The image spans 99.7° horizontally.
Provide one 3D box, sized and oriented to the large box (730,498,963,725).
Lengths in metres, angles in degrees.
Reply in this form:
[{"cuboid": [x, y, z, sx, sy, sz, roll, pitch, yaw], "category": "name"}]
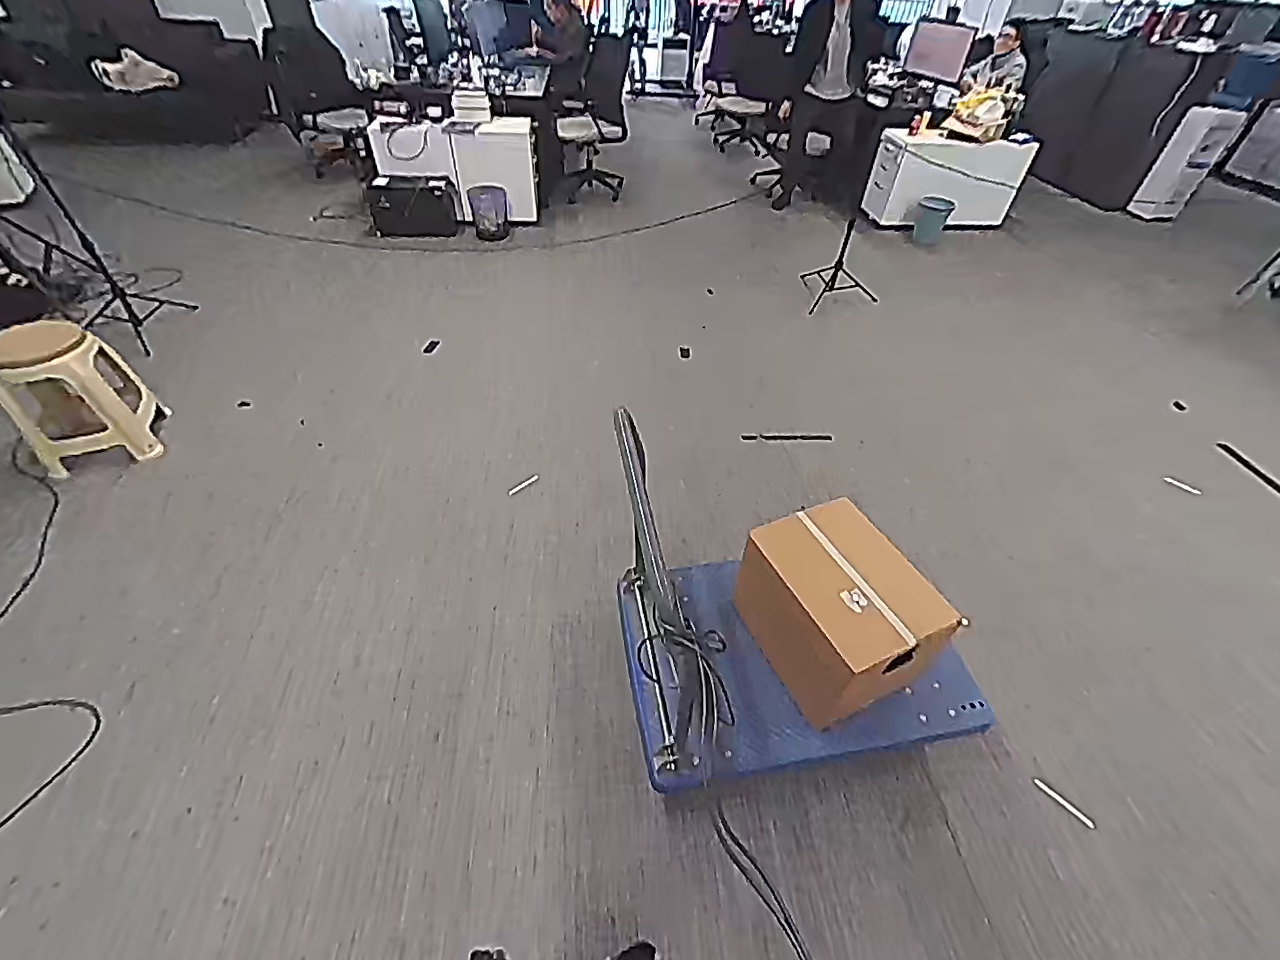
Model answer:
[{"cuboid": [0.479, 0.319, 1.358, 0.320, 0.320, 0.408, -17, 50, -18], "category": "large box"}]
